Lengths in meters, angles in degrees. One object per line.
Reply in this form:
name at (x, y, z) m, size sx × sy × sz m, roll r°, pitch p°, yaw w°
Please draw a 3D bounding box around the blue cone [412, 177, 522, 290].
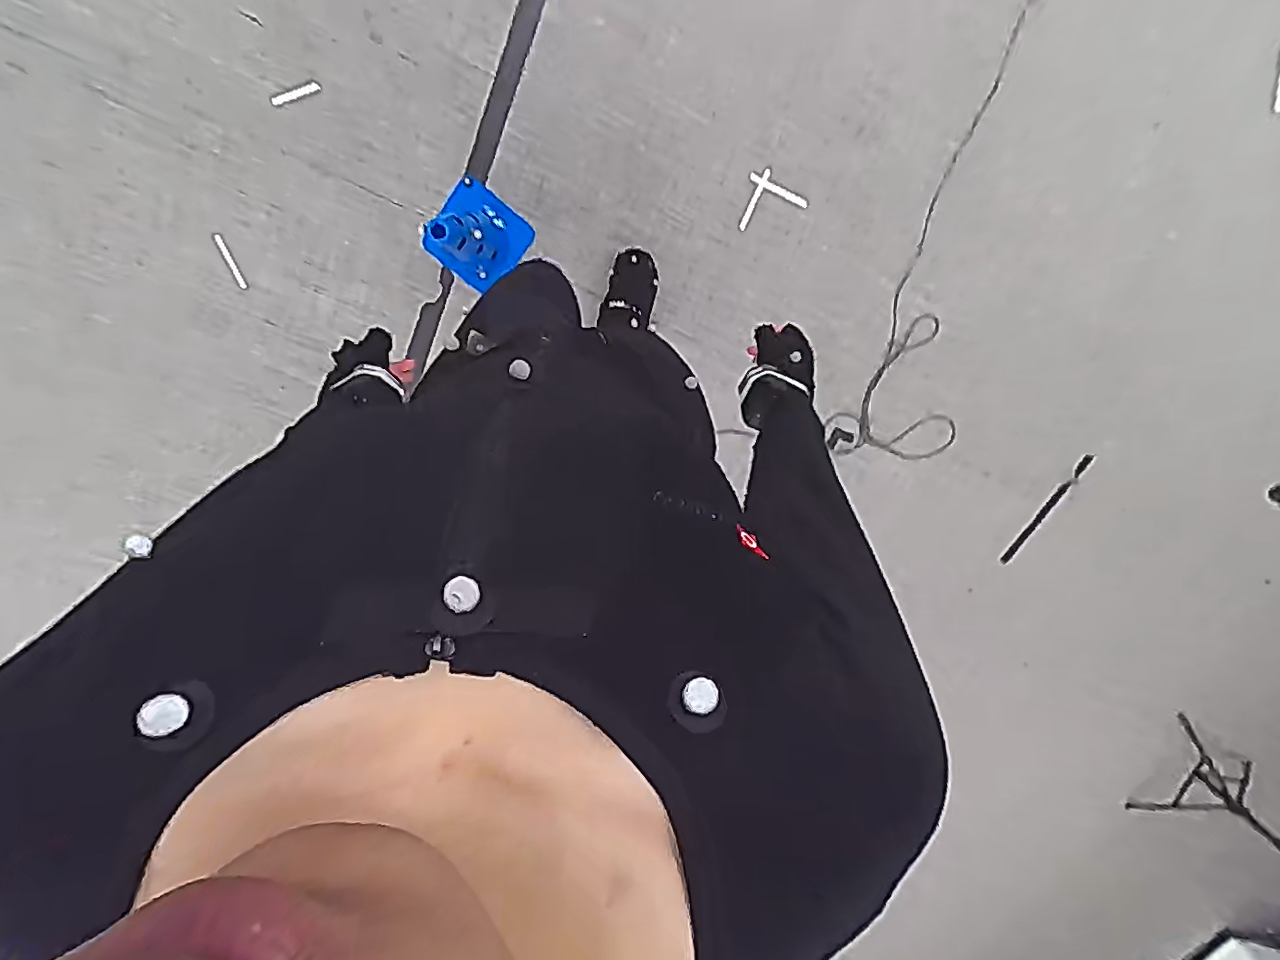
blue cone at (-0.379, -0.509, 1.108) m, size 0.192 × 0.380 × 0.193 m, roll 38°, pitch 104°, yaw -16°
